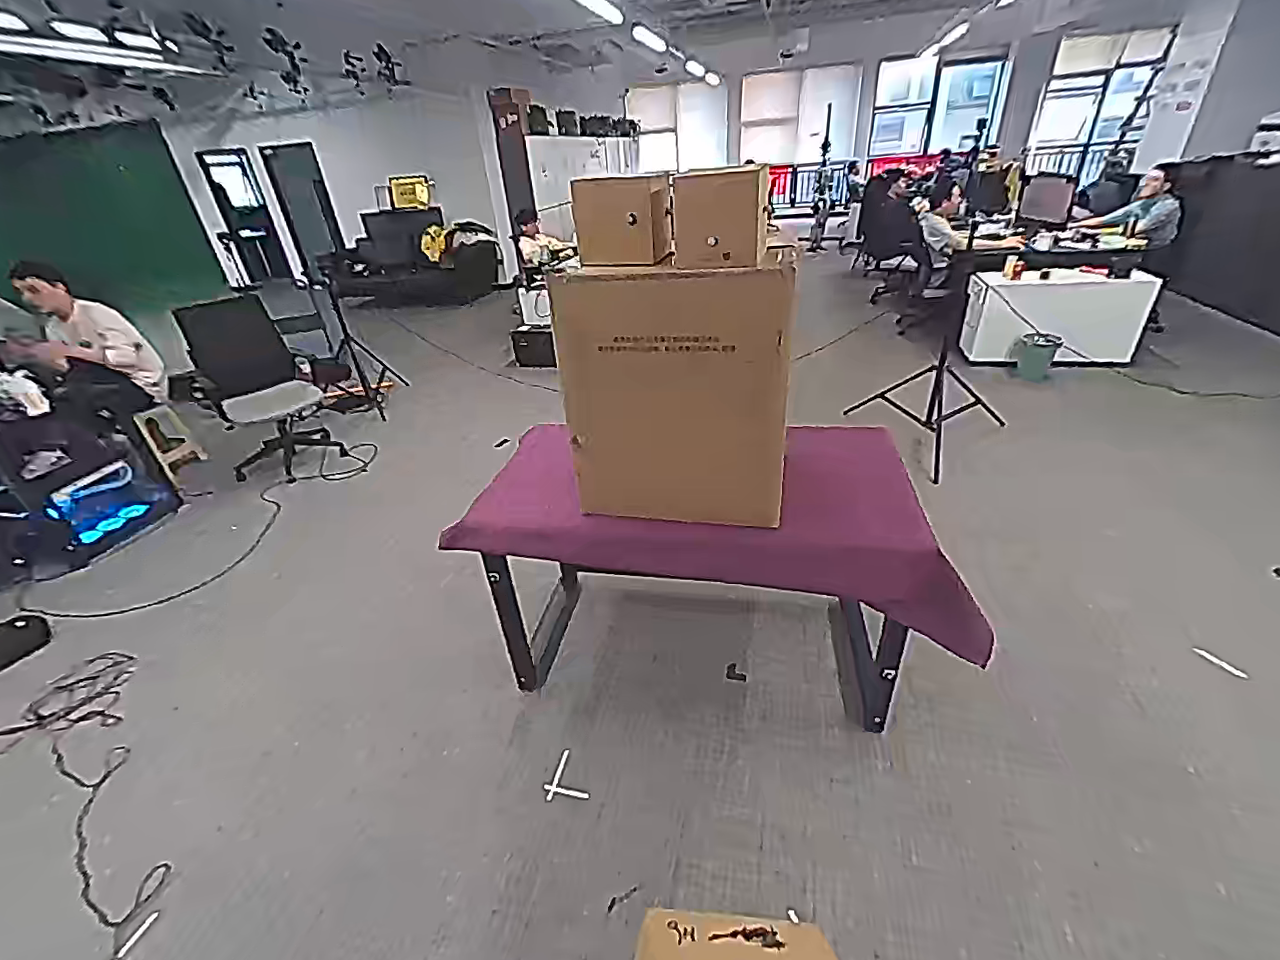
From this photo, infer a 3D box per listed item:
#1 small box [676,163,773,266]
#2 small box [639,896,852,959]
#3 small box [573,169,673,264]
[{"bbox_3d":[0.173,-0.537,1.094,0.168,0.176,0.179,5,33,17],"label":"small box"},{"bbox_3d":[0.082,0.461,0.396,0.168,0.176,0.179,12,-1,-6],"label":"small box"},{"bbox_3d":[-0.029,-0.578,1.188,0.179,0.176,0.168,5,32,16],"label":"small box"}]
